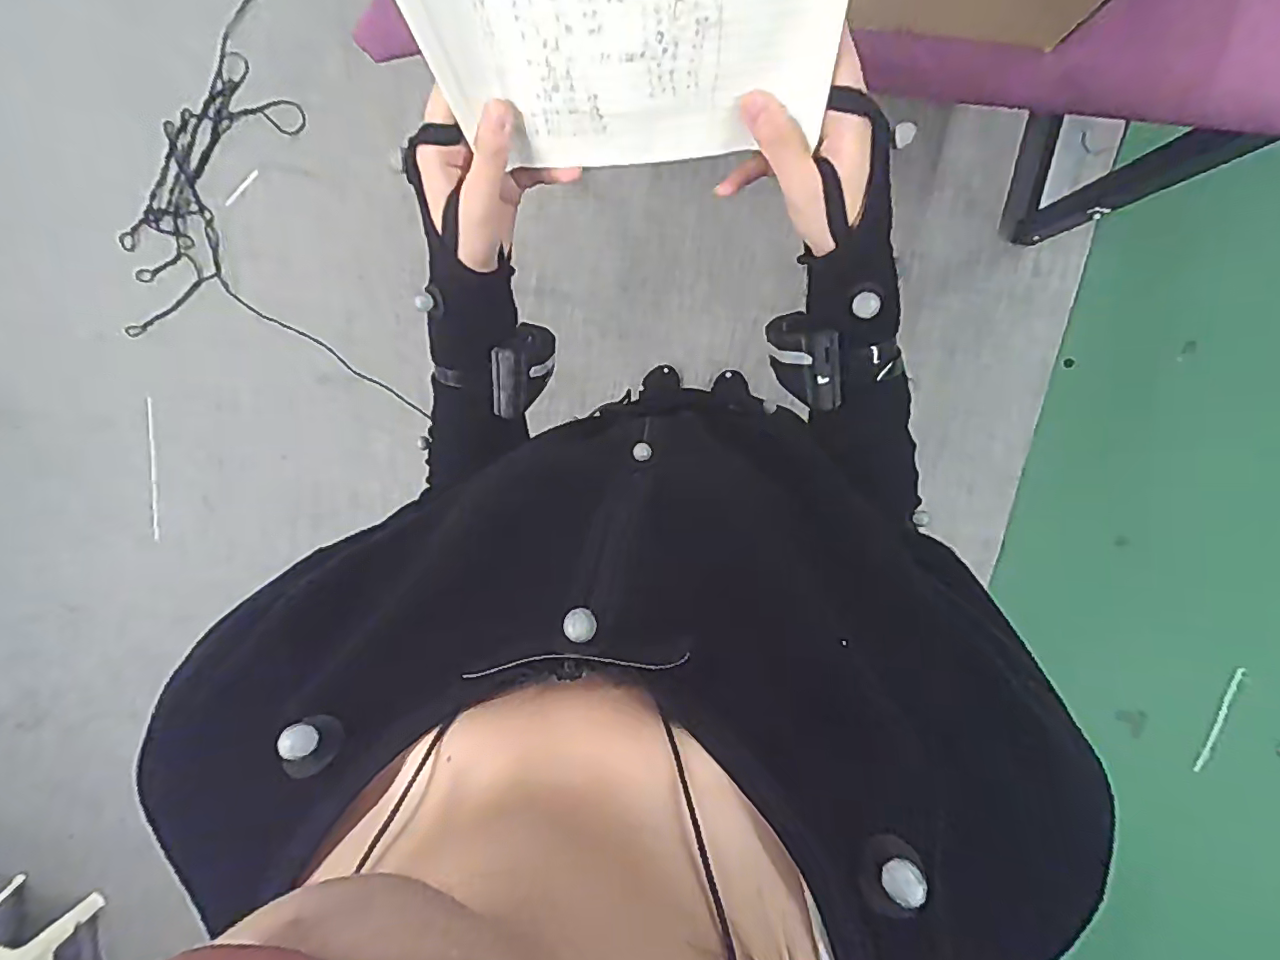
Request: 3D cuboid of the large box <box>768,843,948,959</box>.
[{"bbox_3d":[0.592,1.283,1.526,0.408,0.320,0.320,-4,100,6],"label":"large box"}]
